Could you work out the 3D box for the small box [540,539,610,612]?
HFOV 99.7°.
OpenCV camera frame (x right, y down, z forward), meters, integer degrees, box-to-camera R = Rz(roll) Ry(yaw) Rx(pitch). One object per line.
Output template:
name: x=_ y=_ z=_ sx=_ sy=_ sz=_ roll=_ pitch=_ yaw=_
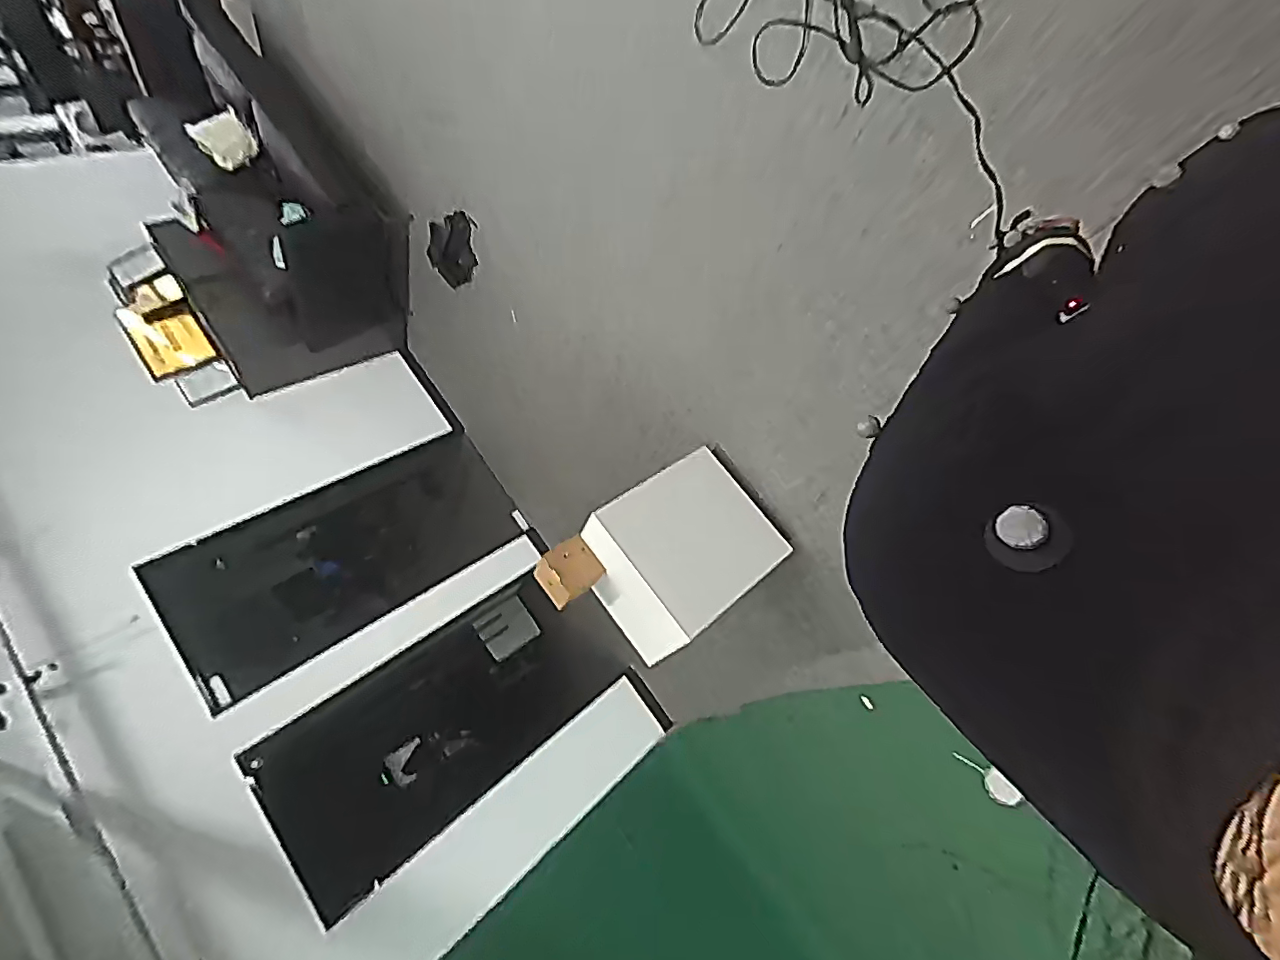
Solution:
small box: x=-0.229 y=0.336 z=1.918 sx=0.168 sy=0.176 sz=0.179 roll=51 pitch=148 yaw=12
